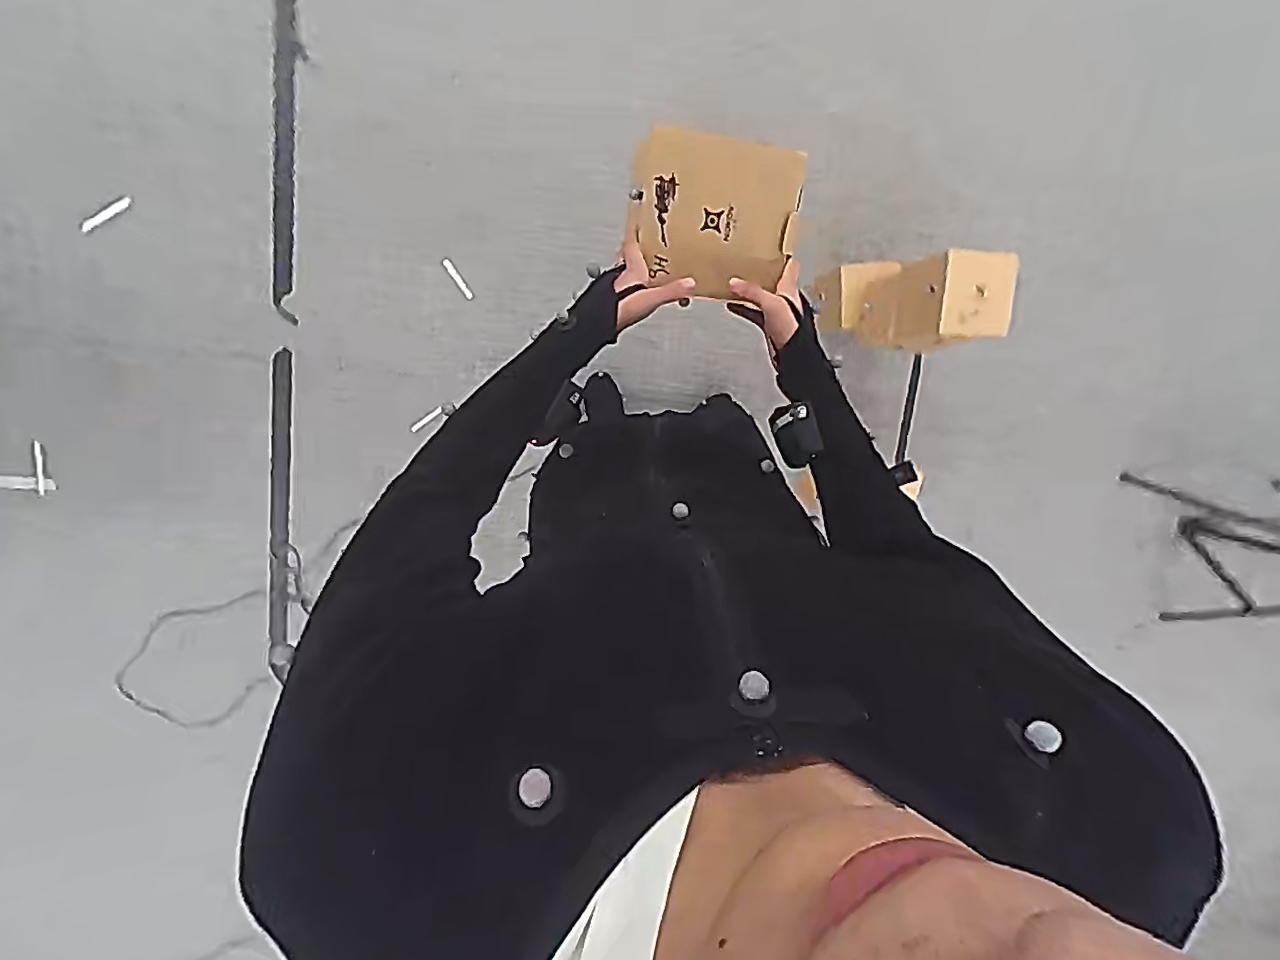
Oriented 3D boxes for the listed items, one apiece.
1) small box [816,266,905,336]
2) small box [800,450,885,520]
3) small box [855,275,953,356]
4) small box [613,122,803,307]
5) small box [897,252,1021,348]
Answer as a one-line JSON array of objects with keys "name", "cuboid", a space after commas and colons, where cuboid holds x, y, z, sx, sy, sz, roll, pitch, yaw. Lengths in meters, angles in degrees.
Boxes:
[{"name": "small box", "cuboid": [0.618, -0.502, 1.528, 0.179, 0.176, 0.168, -5, 101, -5]}, {"name": "small box", "cuboid": [0.600, 0.009, 1.626, 0.168, 0.176, 0.179, 6, 101, -8]}, {"name": "small box", "cuboid": [0.689, -0.415, 1.386, 0.179, 0.176, 0.168, 9, 99, -8]}, {"name": "small box", "cuboid": [0.068, -0.310, 0.657, 0.179, 0.176, 0.168, 3, 111, -9]}, {"name": "small box", "cuboid": [0.711, -0.400, 1.224, 0.168, 0.176, 0.179, 2, 100, -8]}]
